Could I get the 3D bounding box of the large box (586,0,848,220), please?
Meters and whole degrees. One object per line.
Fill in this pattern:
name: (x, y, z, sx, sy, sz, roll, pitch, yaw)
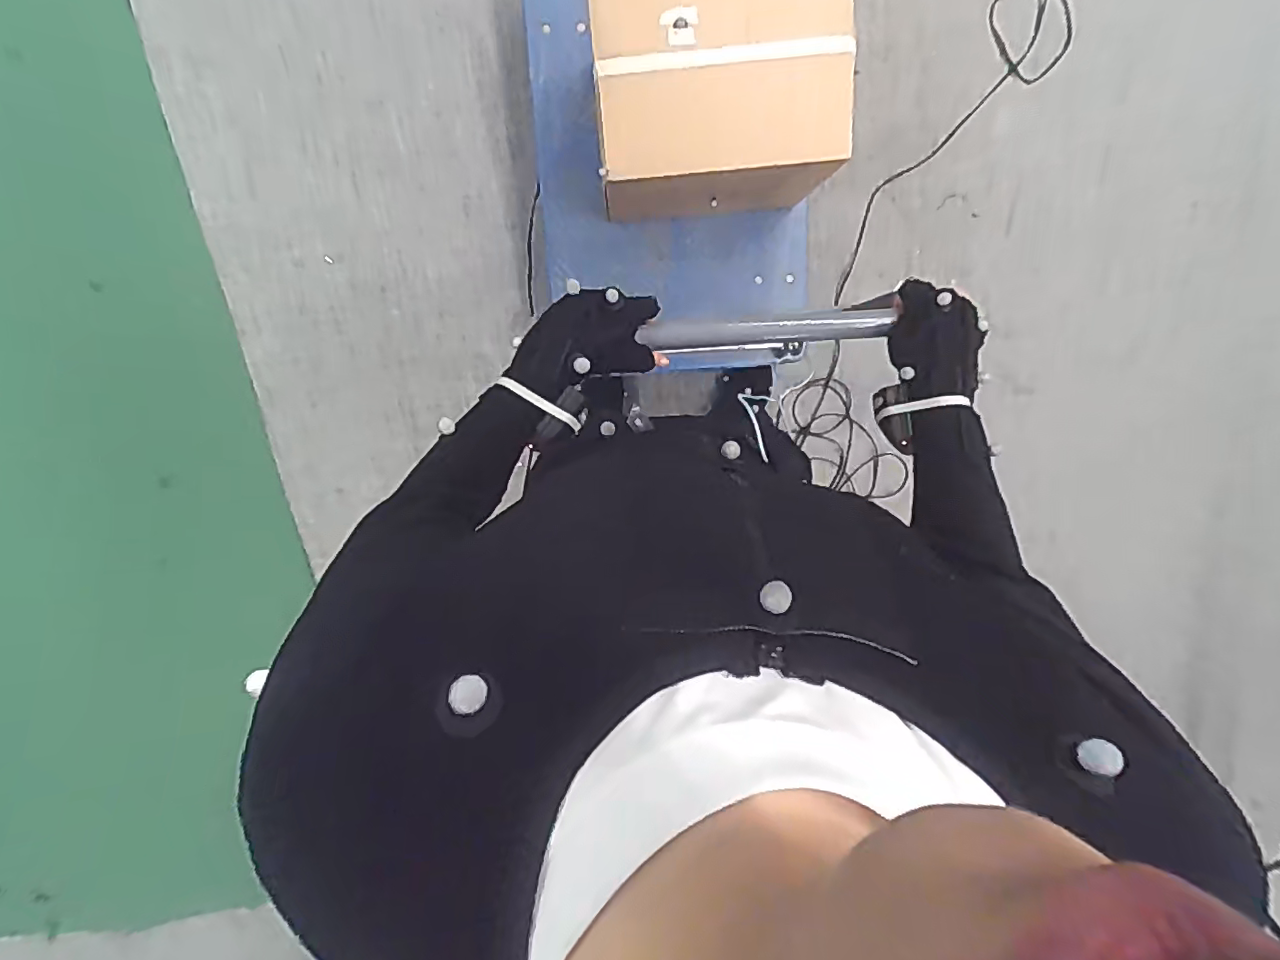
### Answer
large box: (0.128, -0.692, 0.994, 0.408, 0.320, 0.320, -5, 103, 1)
